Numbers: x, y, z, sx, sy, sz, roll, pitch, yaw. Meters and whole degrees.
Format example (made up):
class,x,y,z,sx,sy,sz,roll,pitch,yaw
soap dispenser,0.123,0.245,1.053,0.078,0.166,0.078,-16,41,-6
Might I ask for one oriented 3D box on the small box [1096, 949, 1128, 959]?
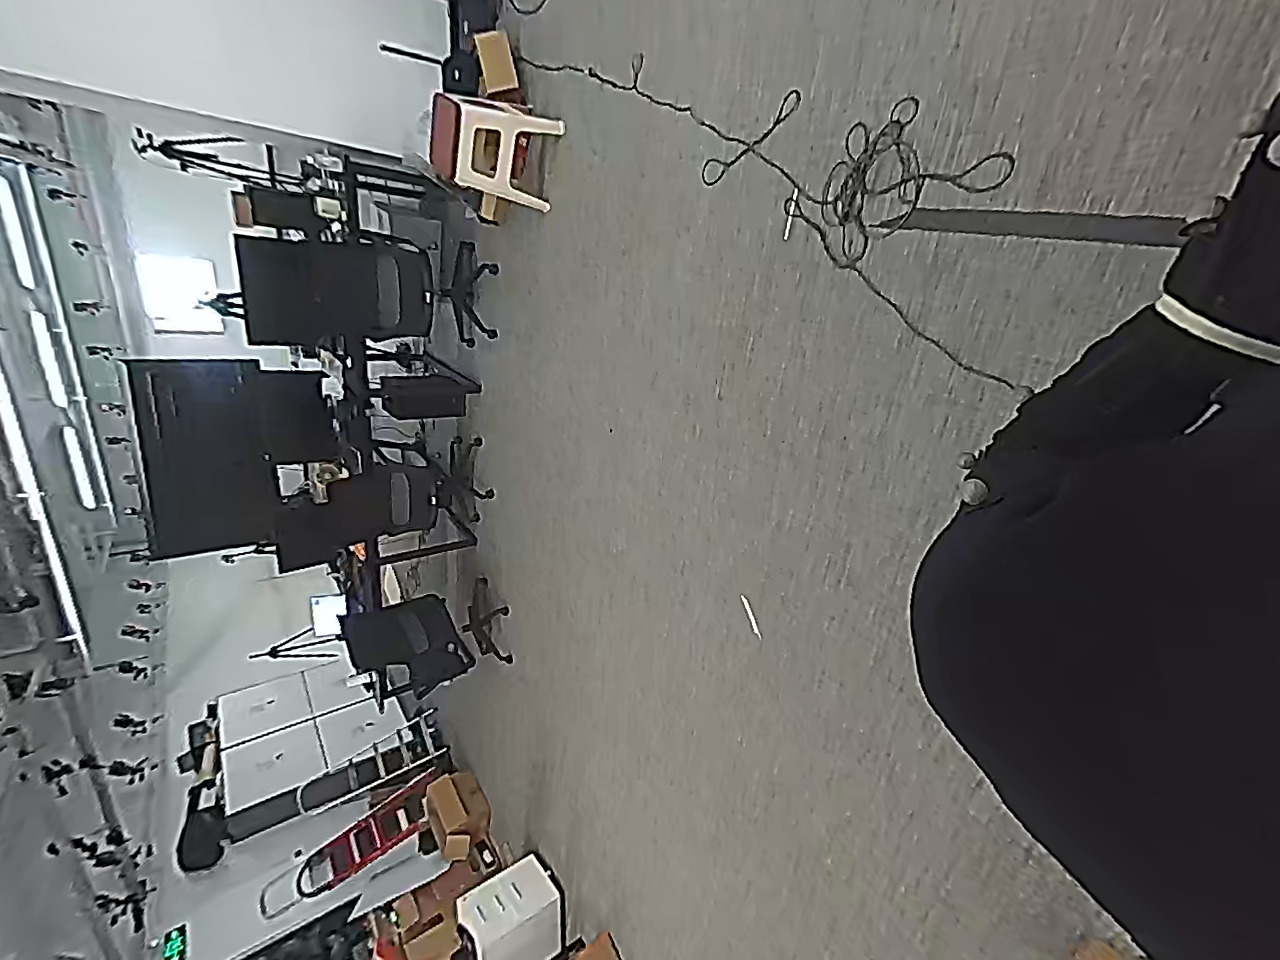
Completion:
class,x,y,z,sx,sy,sz,roll,pitch,yaw
small box,1.034,1.166,1.150,0.168,0.176,0.179,34,125,44
